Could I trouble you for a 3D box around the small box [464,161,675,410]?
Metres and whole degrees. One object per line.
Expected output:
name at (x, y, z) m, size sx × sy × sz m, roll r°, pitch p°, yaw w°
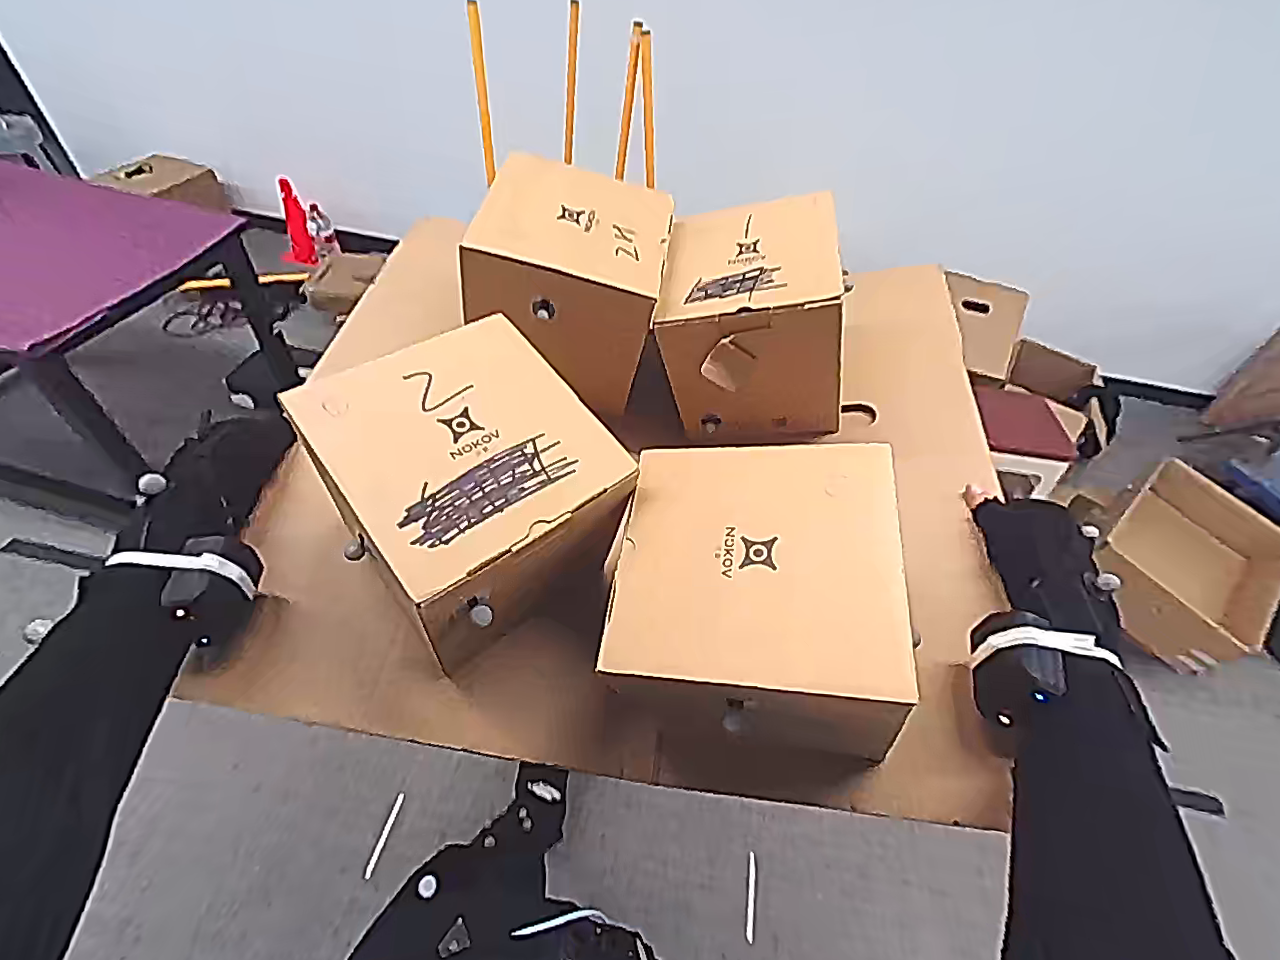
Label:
small box at (-0.075, -0.200, 0.584) m, size 0.179 × 0.176 × 0.168 m, roll 14°, pitch 56°, yaw -6°
